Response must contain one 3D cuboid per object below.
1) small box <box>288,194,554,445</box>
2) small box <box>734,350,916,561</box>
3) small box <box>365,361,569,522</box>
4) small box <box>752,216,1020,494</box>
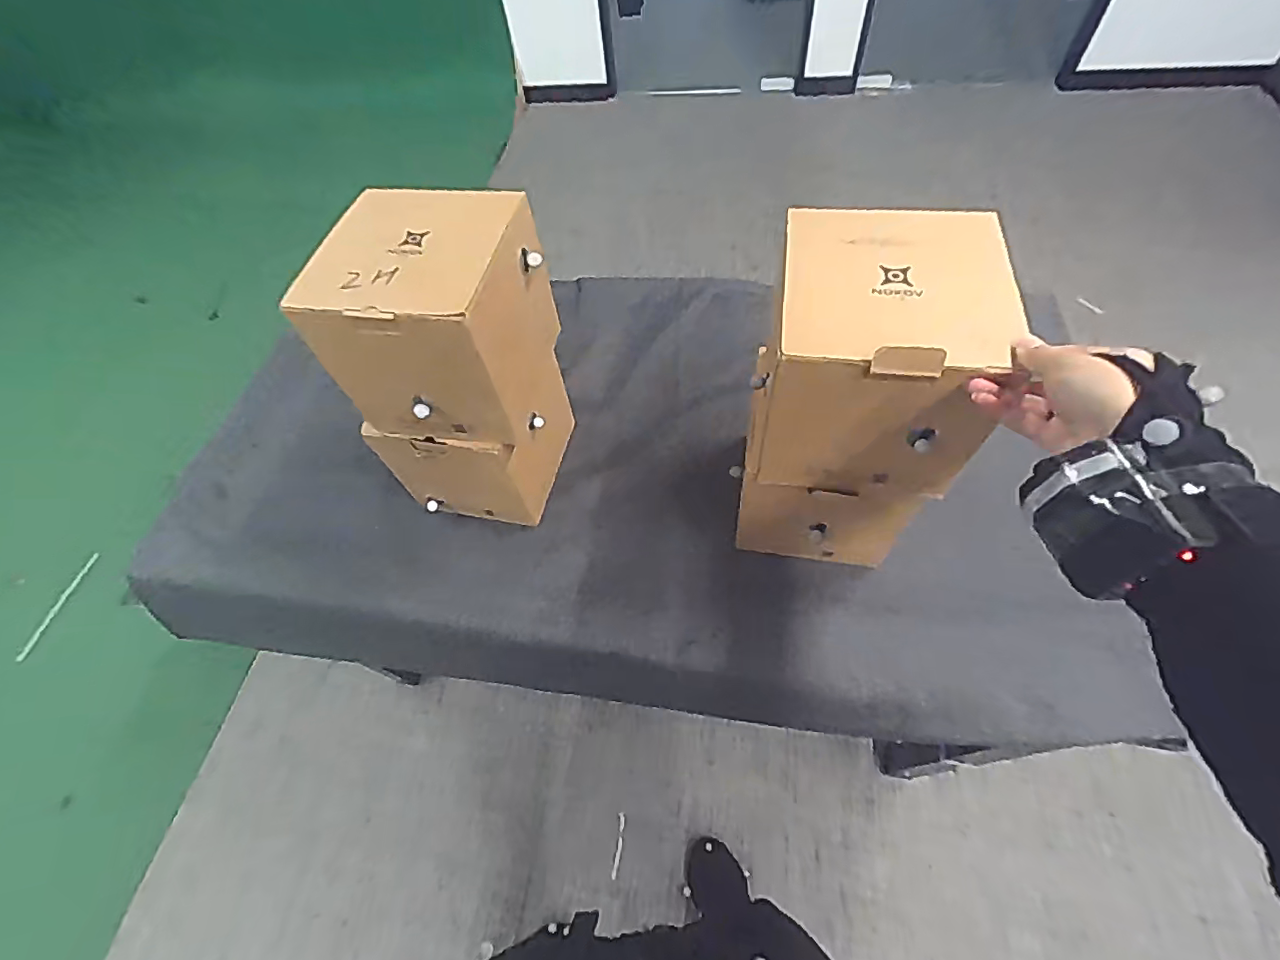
[{"bbox_3d":[-0.194,-0.160,0.548,0.168,0.176,0.179,5,58,9],"label":"small box"},{"bbox_3d":[0.200,-0.023,0.618,0.168,0.176,0.179,7,59,10],"label":"small box"},{"bbox_3d":[-0.198,-0.066,0.684,0.168,0.176,0.179,8,58,10],"label":"small box"},{"bbox_3d":[0.192,-0.105,0.478,0.168,0.176,0.179,6,57,9],"label":"small box"}]
